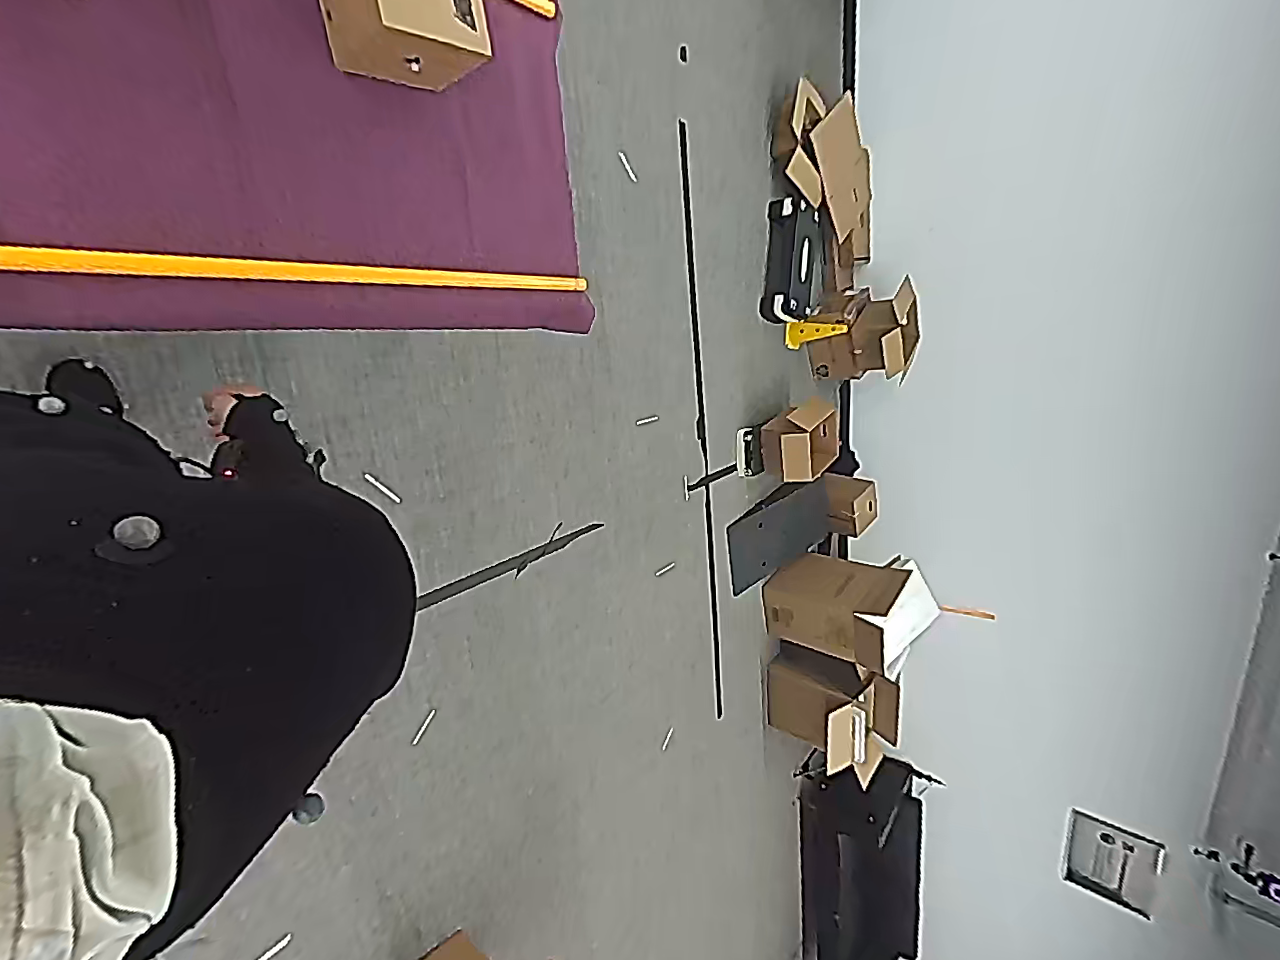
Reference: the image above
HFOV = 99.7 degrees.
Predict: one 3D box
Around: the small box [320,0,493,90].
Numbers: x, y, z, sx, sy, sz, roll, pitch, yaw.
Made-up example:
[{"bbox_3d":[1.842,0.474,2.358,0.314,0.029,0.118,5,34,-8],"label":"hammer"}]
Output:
[{"bbox_3d":[-0.349,-0.706,0.796,0.179,0.176,0.168,-24,115,-43],"label":"small box"}]
